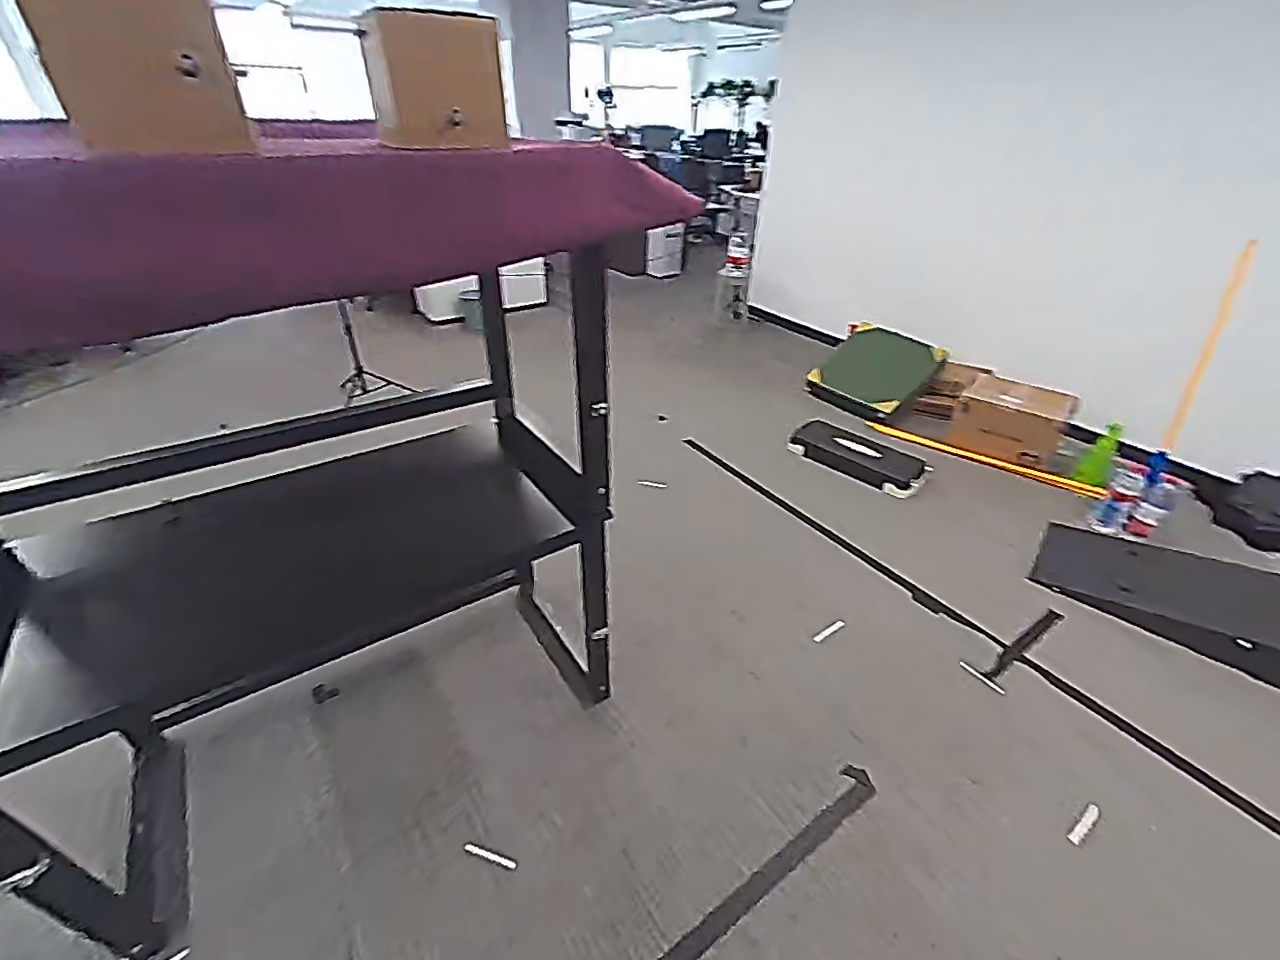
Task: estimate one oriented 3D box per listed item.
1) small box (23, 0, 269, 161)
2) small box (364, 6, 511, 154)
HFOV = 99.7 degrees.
[{"bbox_3d":[-0.585,-0.499,0.667,0.179,0.176,0.168,-16,37,-24],"label":"small box"},{"bbox_3d":[-0.315,-0.625,0.860,0.179,0.176,0.168,-18,38,-27],"label":"small box"}]
